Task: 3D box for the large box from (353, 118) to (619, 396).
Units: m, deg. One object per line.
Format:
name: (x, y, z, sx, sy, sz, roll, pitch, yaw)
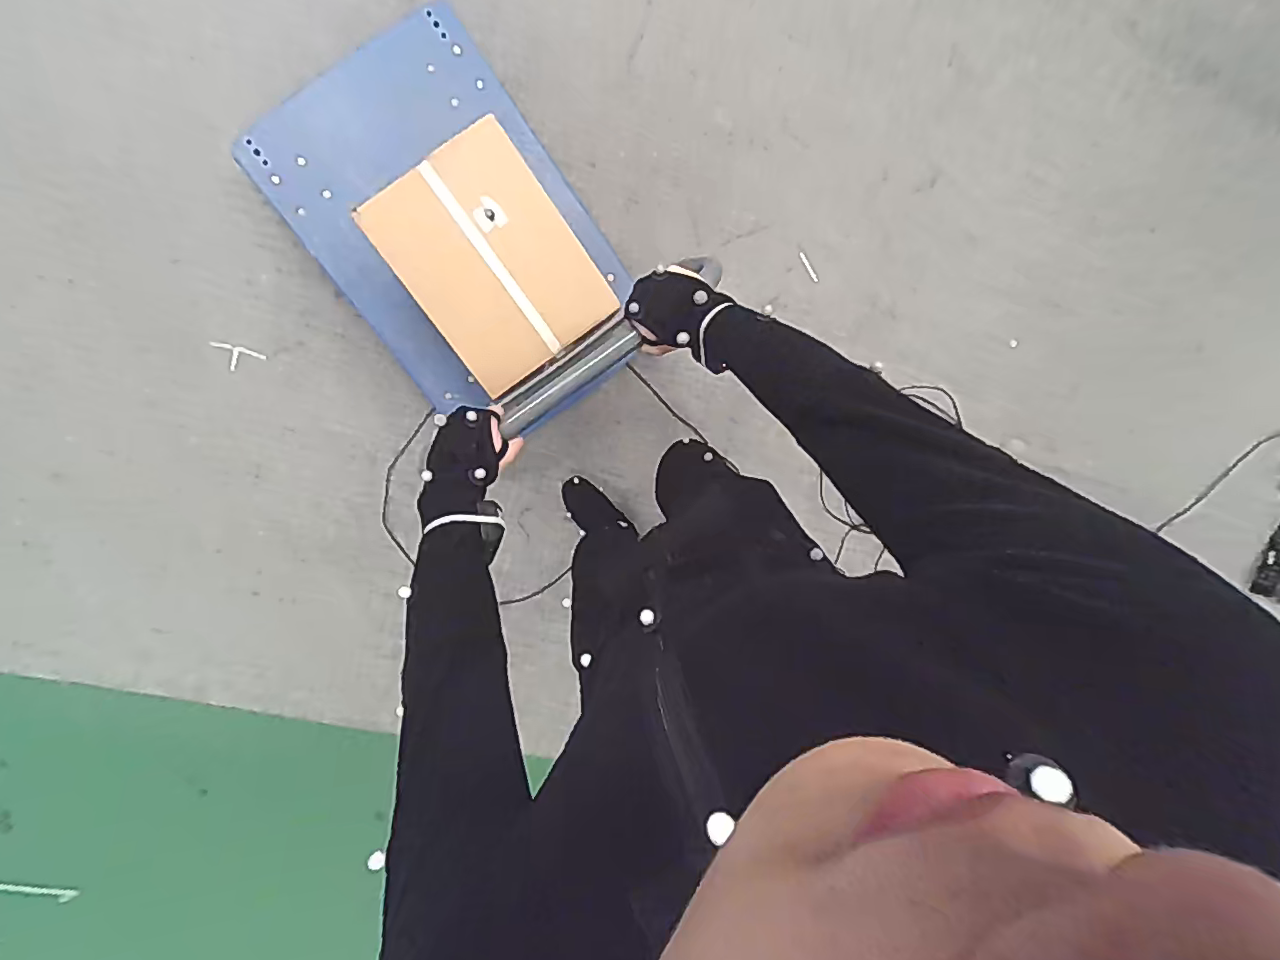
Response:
large box: (-0.294, -0.427, 1.147, 0.320, 0.320, 0.408, -37, 102, -2)
